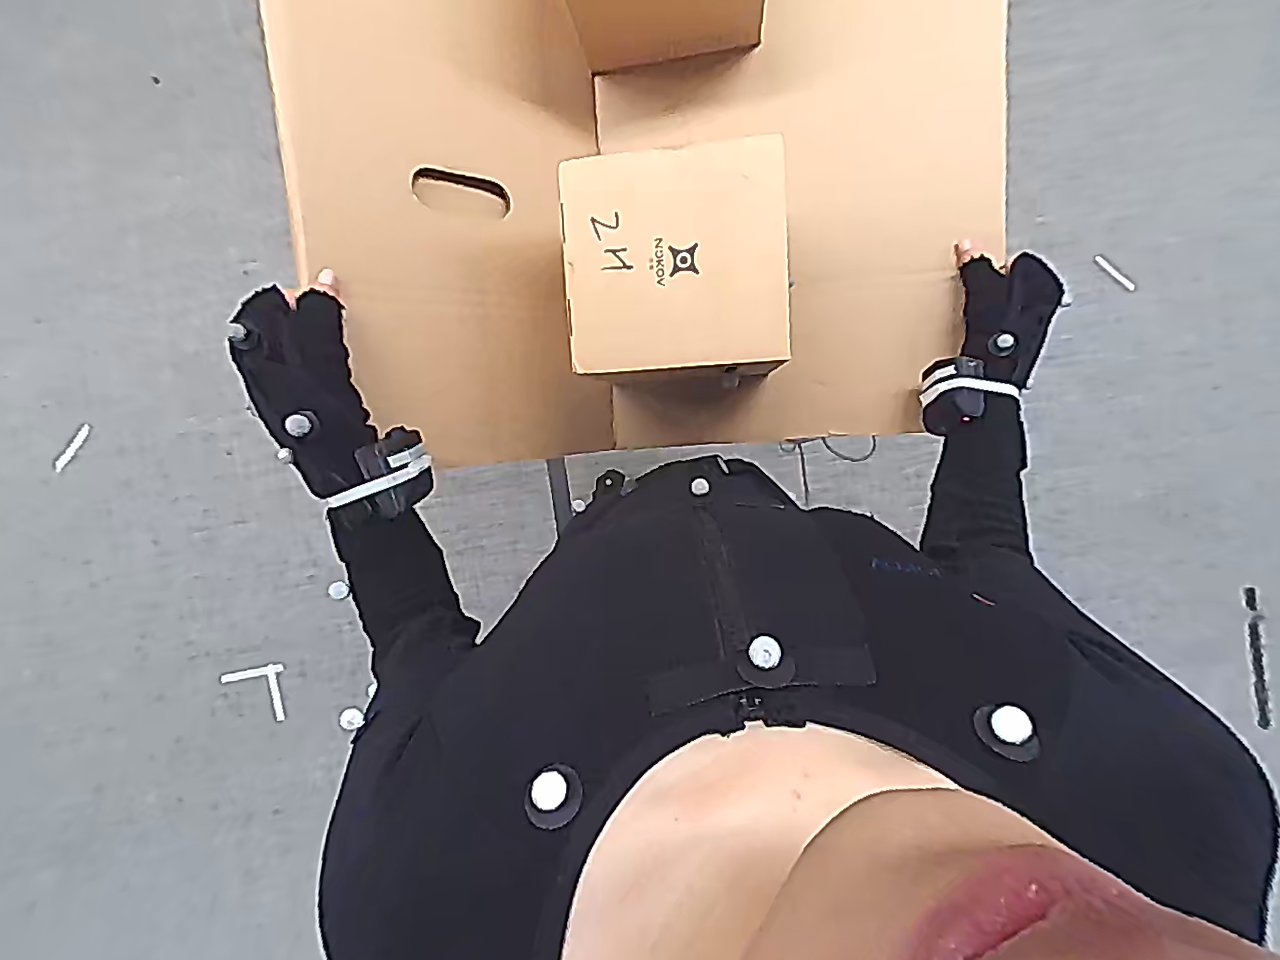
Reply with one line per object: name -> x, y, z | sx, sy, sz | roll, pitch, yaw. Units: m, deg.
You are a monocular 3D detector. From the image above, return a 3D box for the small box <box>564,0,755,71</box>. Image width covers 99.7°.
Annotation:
small box -> 0.012, -0.500, 0.472 | 0.179, 0.176, 0.168 | -4, 97, 8
